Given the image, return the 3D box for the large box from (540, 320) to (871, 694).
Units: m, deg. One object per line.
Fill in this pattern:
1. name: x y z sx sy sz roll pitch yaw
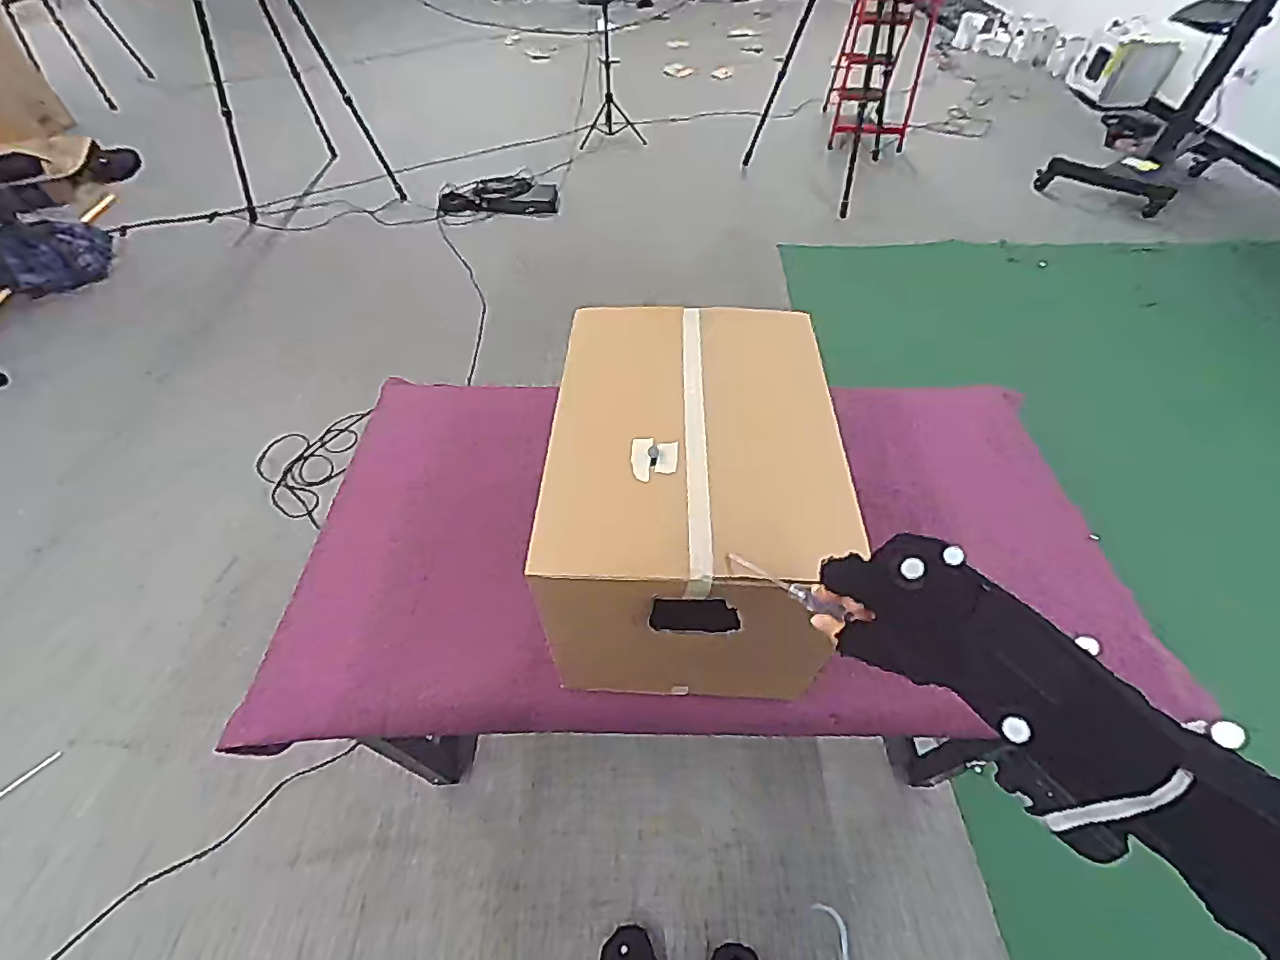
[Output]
1. large box: 0.062 0.036 0.732 0.320 0.320 0.408 2 52 2
